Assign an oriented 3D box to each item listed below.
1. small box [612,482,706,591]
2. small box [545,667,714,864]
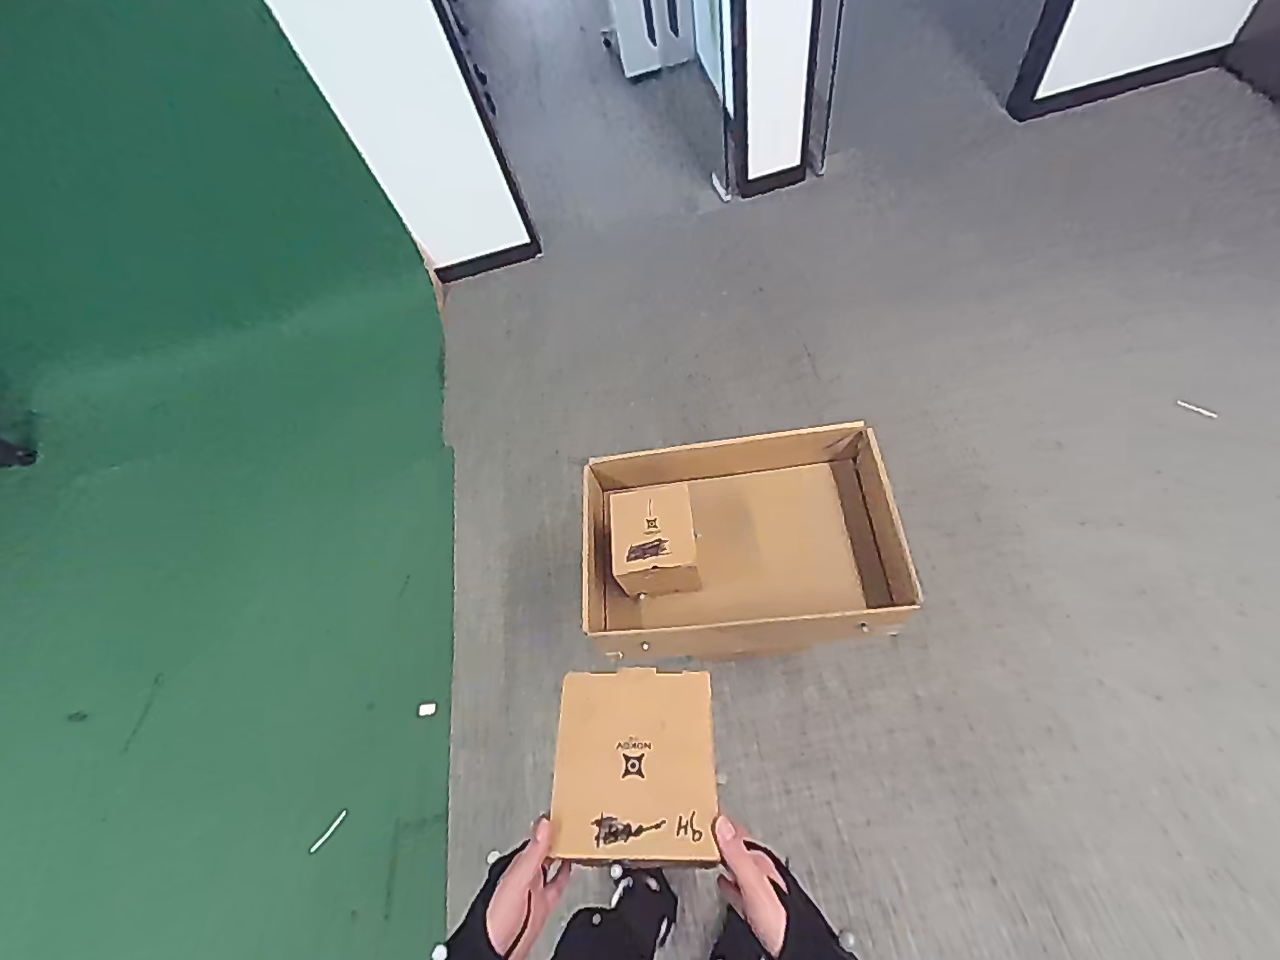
[{"bbox_3d":[0.043,0.128,1.140,0.168,0.176,0.179,-9,60,9],"label":"small box"},{"bbox_3d":[-0.001,0.332,0.629,0.168,0.176,0.179,-3,52,6],"label":"small box"}]
